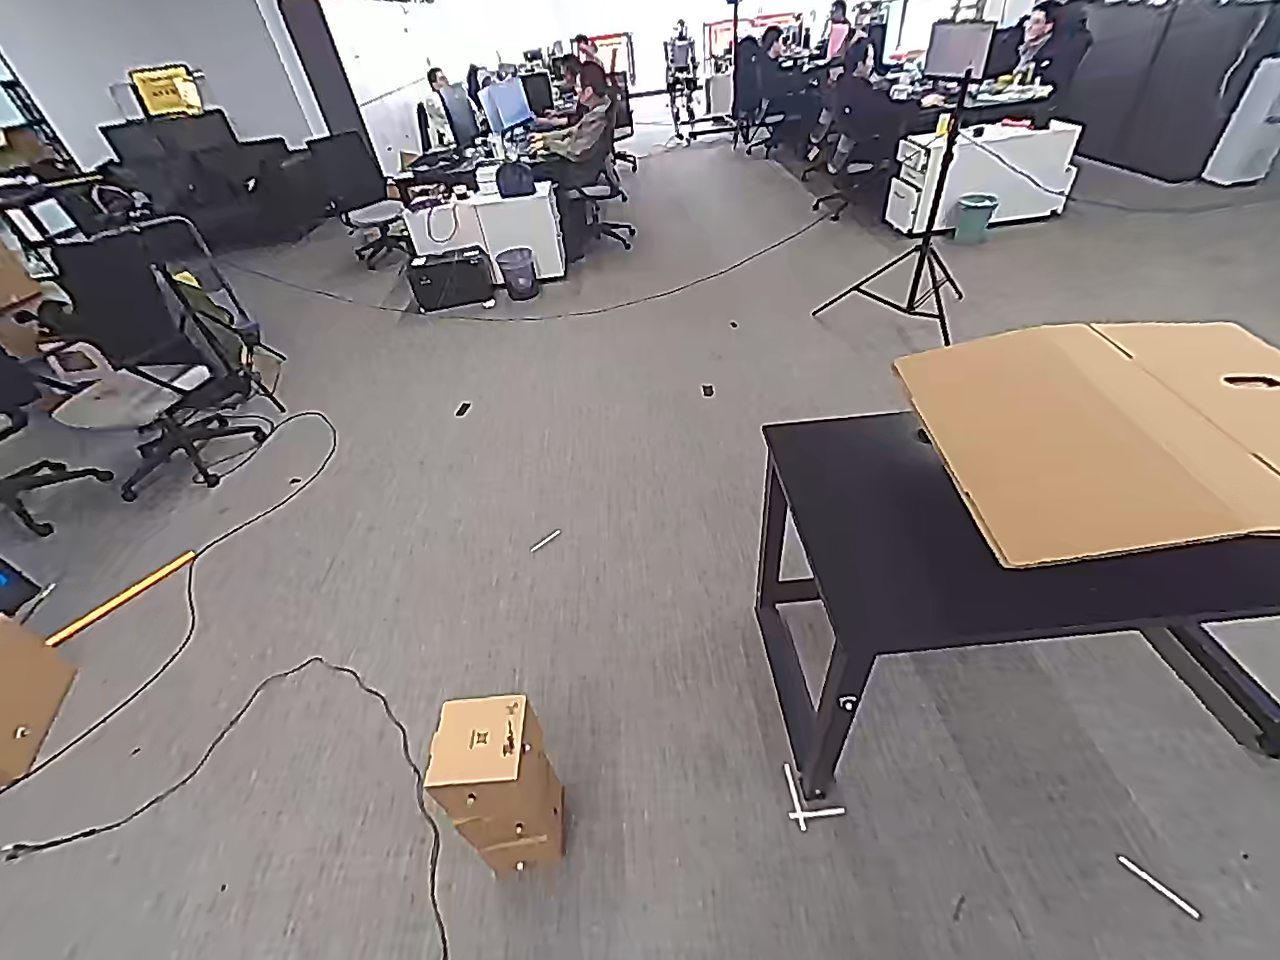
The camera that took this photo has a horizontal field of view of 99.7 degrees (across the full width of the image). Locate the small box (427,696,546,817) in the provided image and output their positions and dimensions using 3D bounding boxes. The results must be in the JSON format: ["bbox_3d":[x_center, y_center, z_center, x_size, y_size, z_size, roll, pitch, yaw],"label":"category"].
[{"bbox_3d":[-0.301,0.566,1.101,0.179,0.176,0.168,-6,41,2],"label":"small box"}]

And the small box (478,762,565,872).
[{"bbox_3d":[-0.280,0.816,1.310,0.168,0.176,0.179,-9,41,-1],"label":"small box"}]

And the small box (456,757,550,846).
[{"bbox_3d":[-0.299,0.691,1.210,0.168,0.176,0.179,-10,39,-5],"label":"small box"}]
